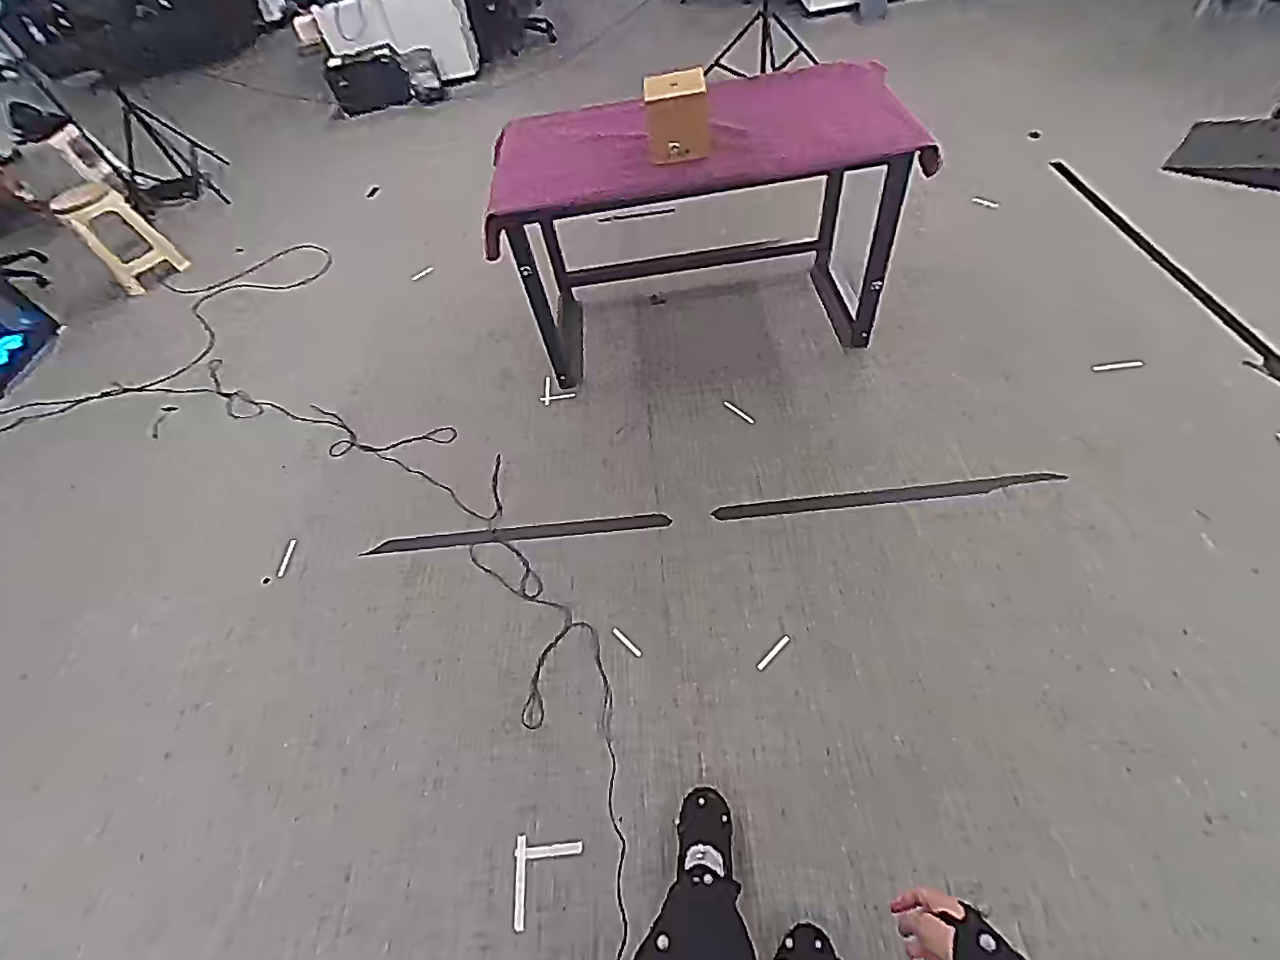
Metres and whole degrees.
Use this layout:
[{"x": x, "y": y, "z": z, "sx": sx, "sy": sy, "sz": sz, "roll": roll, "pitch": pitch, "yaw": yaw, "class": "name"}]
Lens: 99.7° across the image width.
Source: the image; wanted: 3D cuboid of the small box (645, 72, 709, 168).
[{"x": 0.105, "y": -1.017, "z": 1.531, "sx": 0.168, "sy": 0.176, "sz": 0.179, "roll": -5, "pitch": 54, "yaw": 7, "class": "small box"}]
